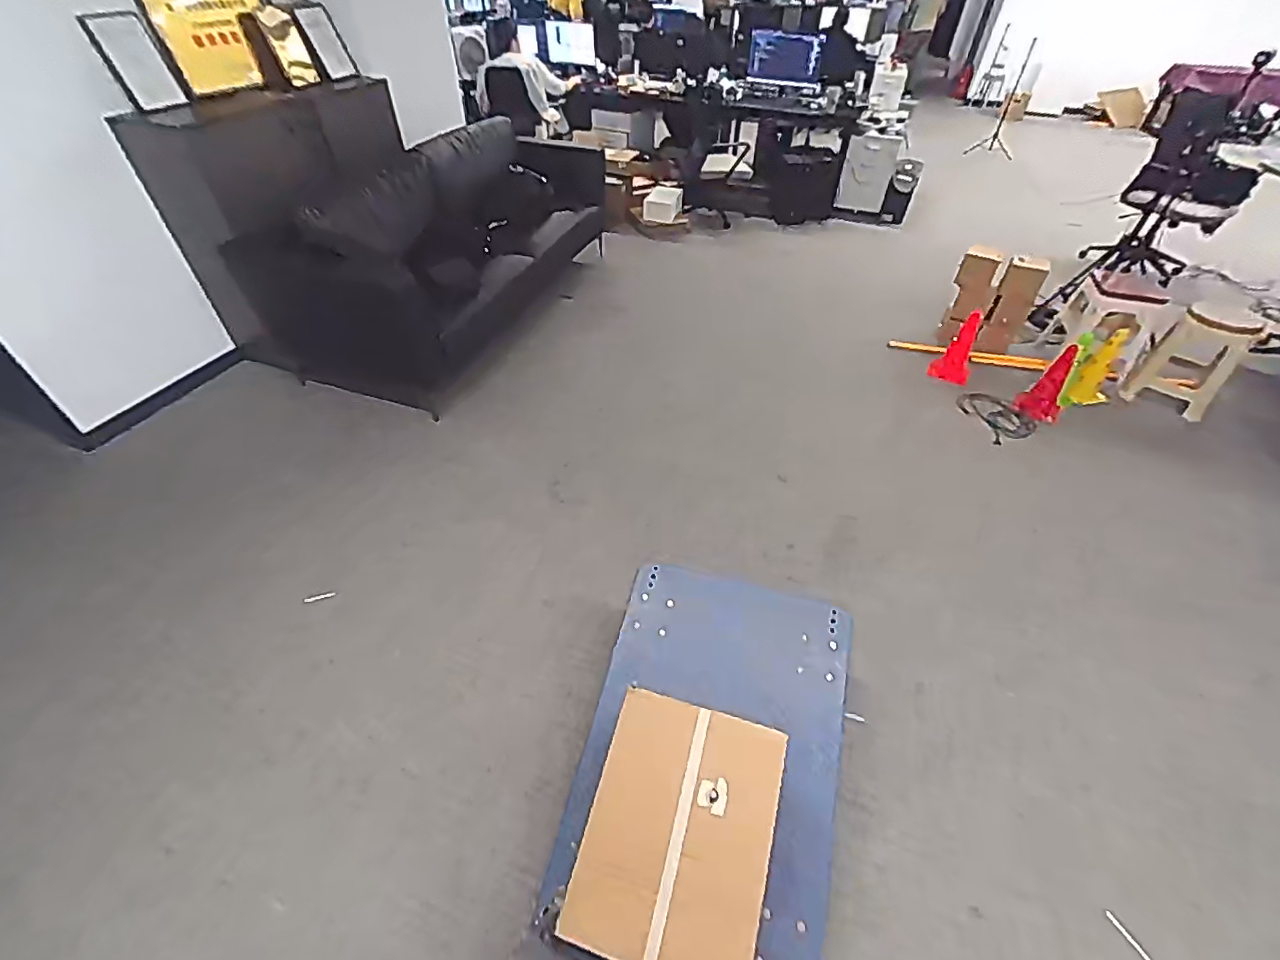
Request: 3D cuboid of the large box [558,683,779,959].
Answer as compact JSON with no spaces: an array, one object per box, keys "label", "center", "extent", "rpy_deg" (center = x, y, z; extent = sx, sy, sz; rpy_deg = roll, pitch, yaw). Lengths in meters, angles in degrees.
[{"label":"large box","center":[0.073,0.674,1.072],"extent":[0.320,0.320,0.408],"rpy_deg":[13,62,11]}]
